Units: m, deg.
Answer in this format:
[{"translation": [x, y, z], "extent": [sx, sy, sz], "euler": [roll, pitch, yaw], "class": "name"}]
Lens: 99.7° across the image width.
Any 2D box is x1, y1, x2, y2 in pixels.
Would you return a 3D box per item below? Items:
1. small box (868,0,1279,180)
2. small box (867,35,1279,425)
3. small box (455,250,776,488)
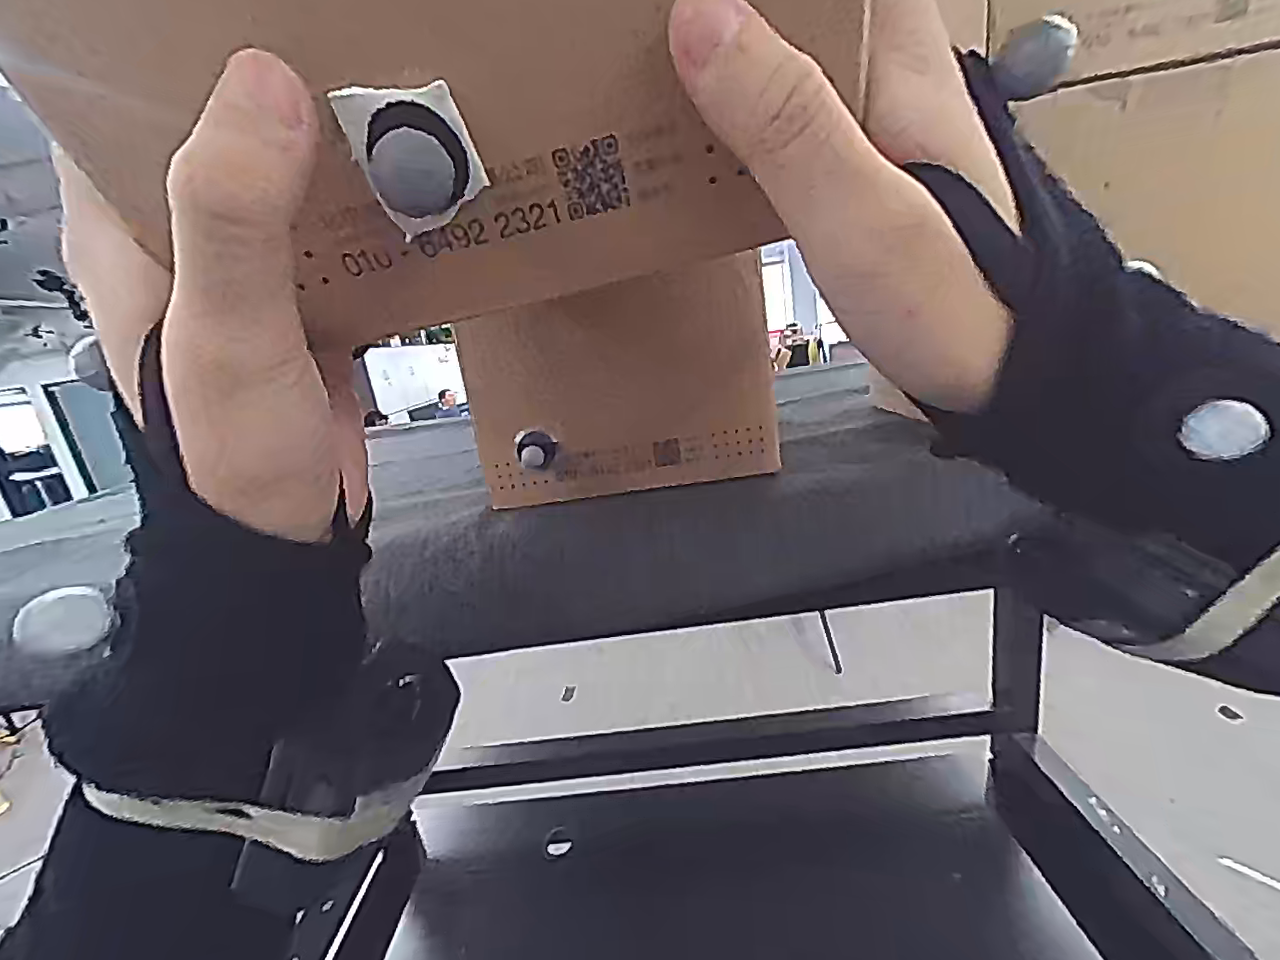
[{"translation": [0.236, -0.292, 0.306], "extent": [0.168, 0.176, 0.179], "euler": [-8, 15, 5], "class": "small box"}, {"translation": [0.260, -0.135, 0.346], "extent": [0.168, 0.176, 0.179], "euler": [-9, 14, 5], "class": "small box"}, {"translation": [-0.012, -0.096, 0.362], "extent": [0.168, 0.176, 0.179], "euler": [-8, 13, 3], "class": "small box"}]
